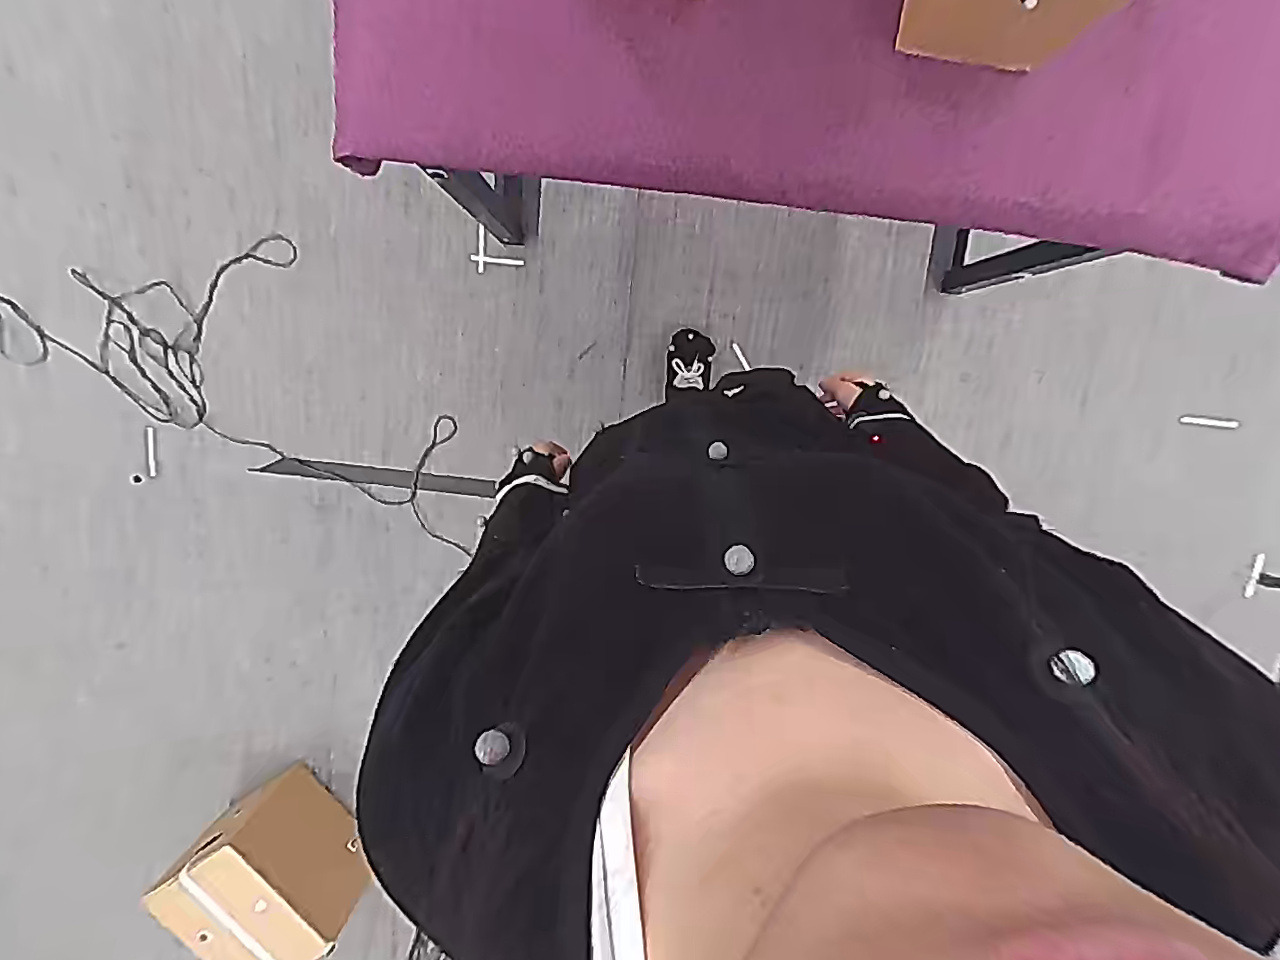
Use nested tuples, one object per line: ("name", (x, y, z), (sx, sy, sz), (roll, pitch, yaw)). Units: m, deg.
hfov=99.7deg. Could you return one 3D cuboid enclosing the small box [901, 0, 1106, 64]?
("small box", (0.402, -0.570, 0.555), (0.179, 0.176, 0.168), (8, 102, -2))
